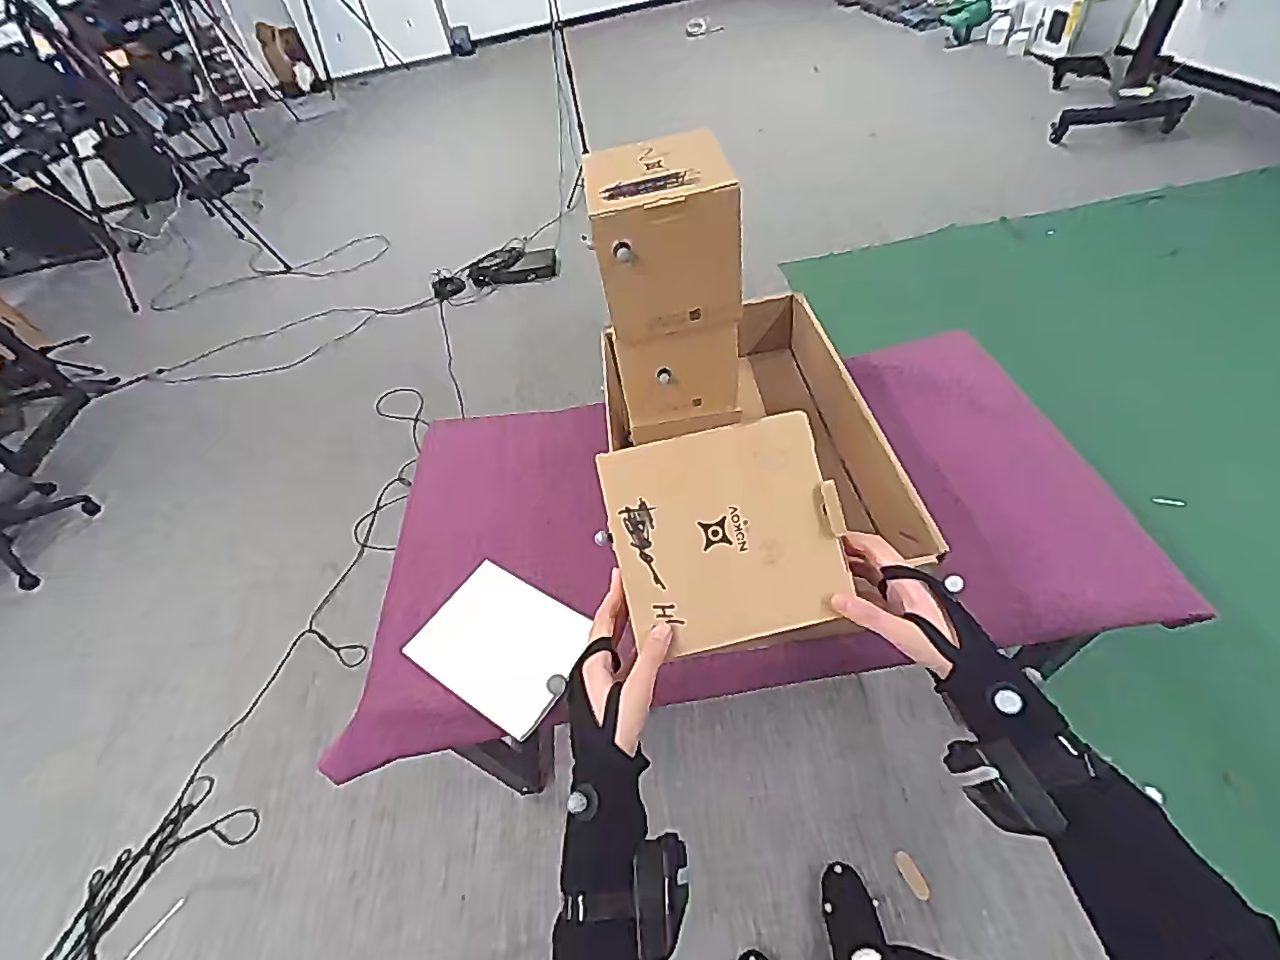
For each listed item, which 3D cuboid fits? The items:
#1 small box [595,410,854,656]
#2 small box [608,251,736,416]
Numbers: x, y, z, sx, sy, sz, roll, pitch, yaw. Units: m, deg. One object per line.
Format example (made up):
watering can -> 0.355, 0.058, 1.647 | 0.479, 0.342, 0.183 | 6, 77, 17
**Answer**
small box -> 0.061, 0.049, 0.495 | 0.179, 0.176, 0.168 | -12, 80, -3
small box -> 0.049, -0.212, 0.819 | 0.168, 0.176, 0.179 | -9, 50, 4
